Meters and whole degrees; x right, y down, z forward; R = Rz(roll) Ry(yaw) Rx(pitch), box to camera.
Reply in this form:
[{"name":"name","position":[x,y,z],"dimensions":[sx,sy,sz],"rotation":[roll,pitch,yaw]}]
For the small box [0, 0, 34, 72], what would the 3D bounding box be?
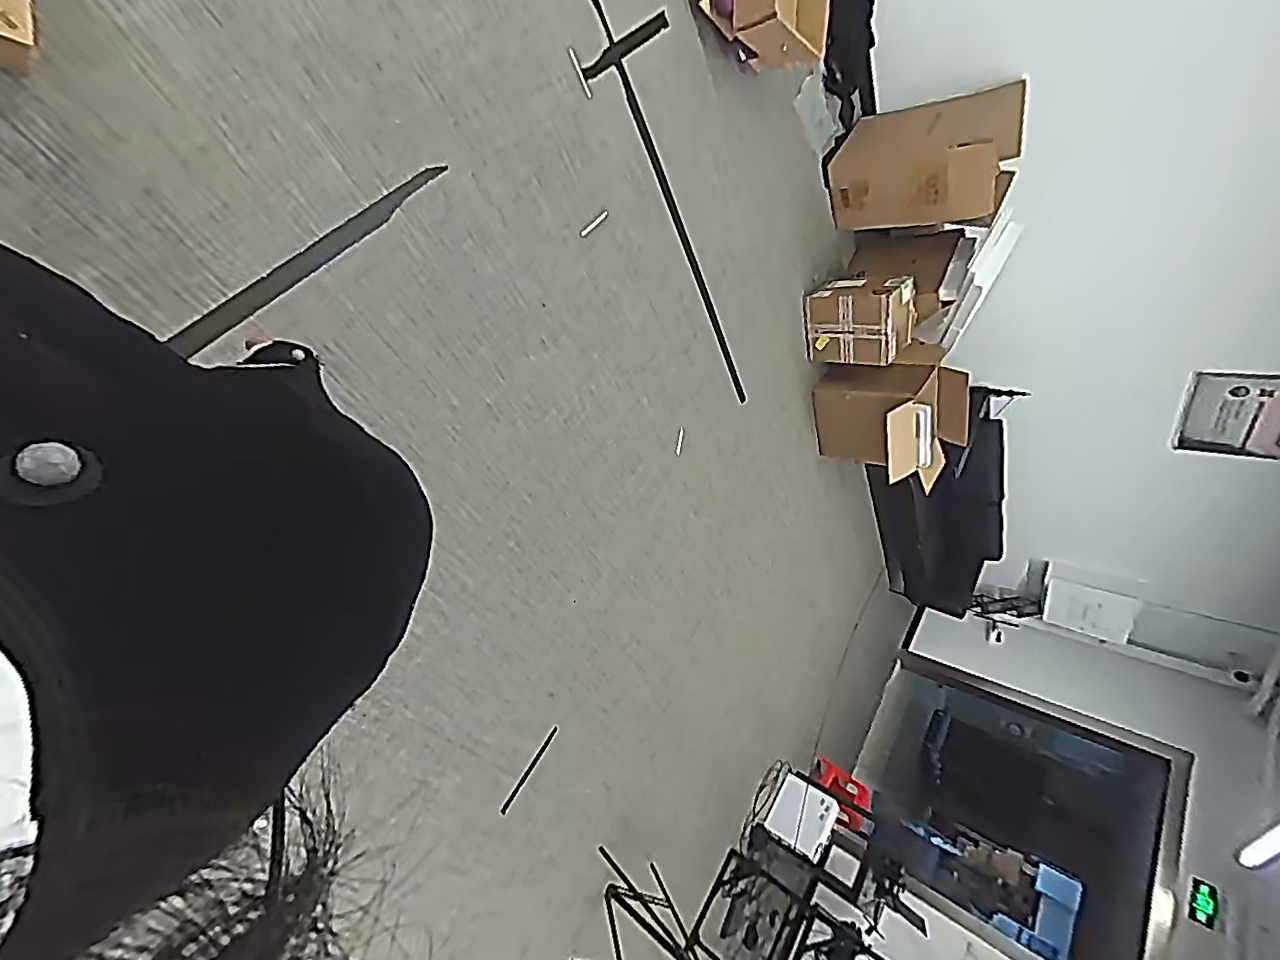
[{"name":"small box","position":[-1.051,-0.771,0.818],"dimensions":[0.168,0.176,0.179],"rotation":[-6,105,-48]}]
